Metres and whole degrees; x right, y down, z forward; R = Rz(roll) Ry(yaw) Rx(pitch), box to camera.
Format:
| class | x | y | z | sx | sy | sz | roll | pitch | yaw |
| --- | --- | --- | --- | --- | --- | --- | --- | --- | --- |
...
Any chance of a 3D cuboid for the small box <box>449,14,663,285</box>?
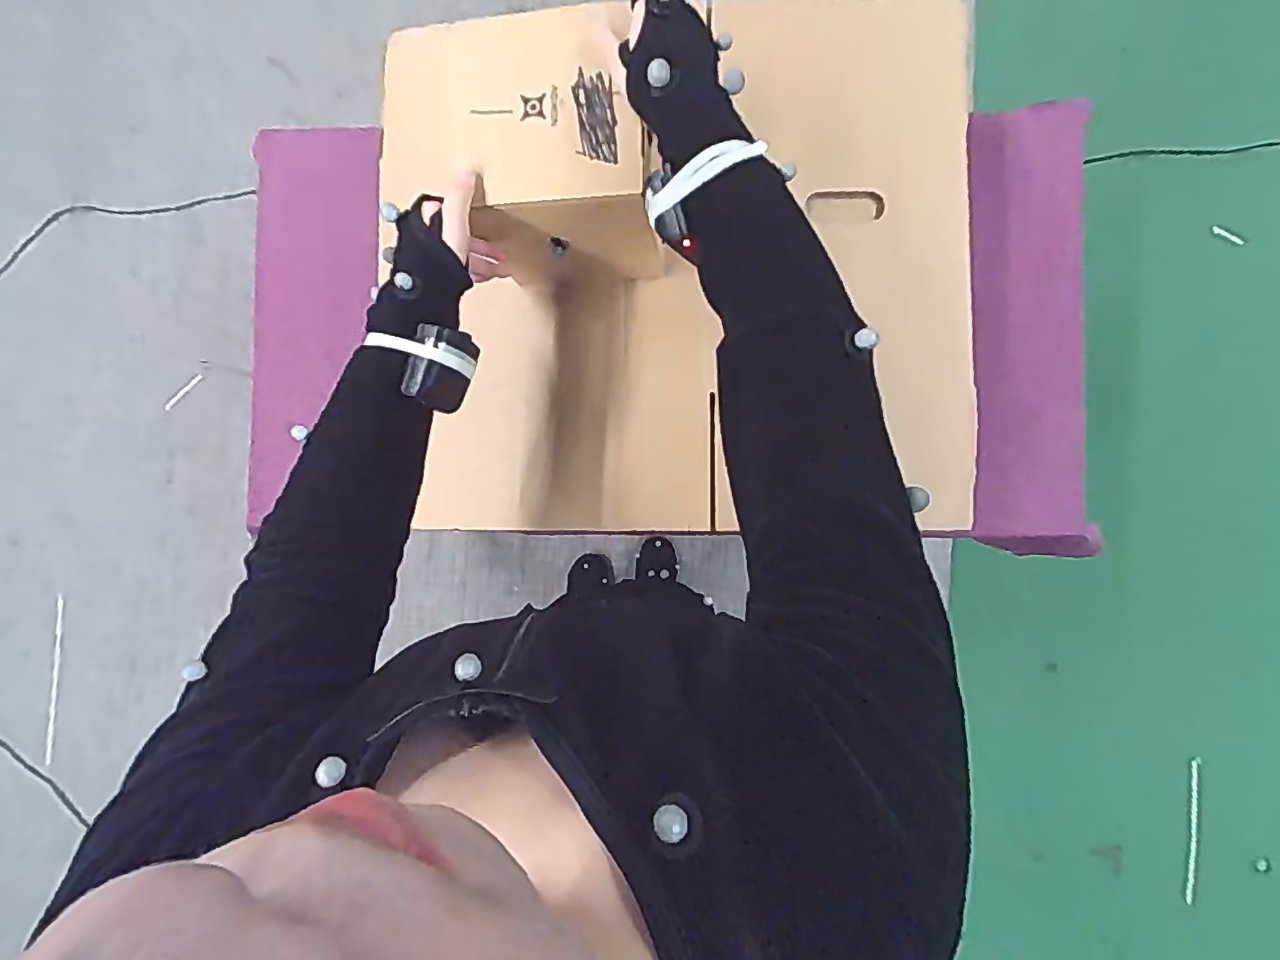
| class | x | y | z | sx | sy | sz | roll | pitch | yaw |
| --- | --- | --- | --- | --- | --- | --- | --- | --- | --- |
| small box | -0.071 | -0.309 | 0.544 | 0.179 | 0.176 | 0.168 | 0 | 88 | 9 |
